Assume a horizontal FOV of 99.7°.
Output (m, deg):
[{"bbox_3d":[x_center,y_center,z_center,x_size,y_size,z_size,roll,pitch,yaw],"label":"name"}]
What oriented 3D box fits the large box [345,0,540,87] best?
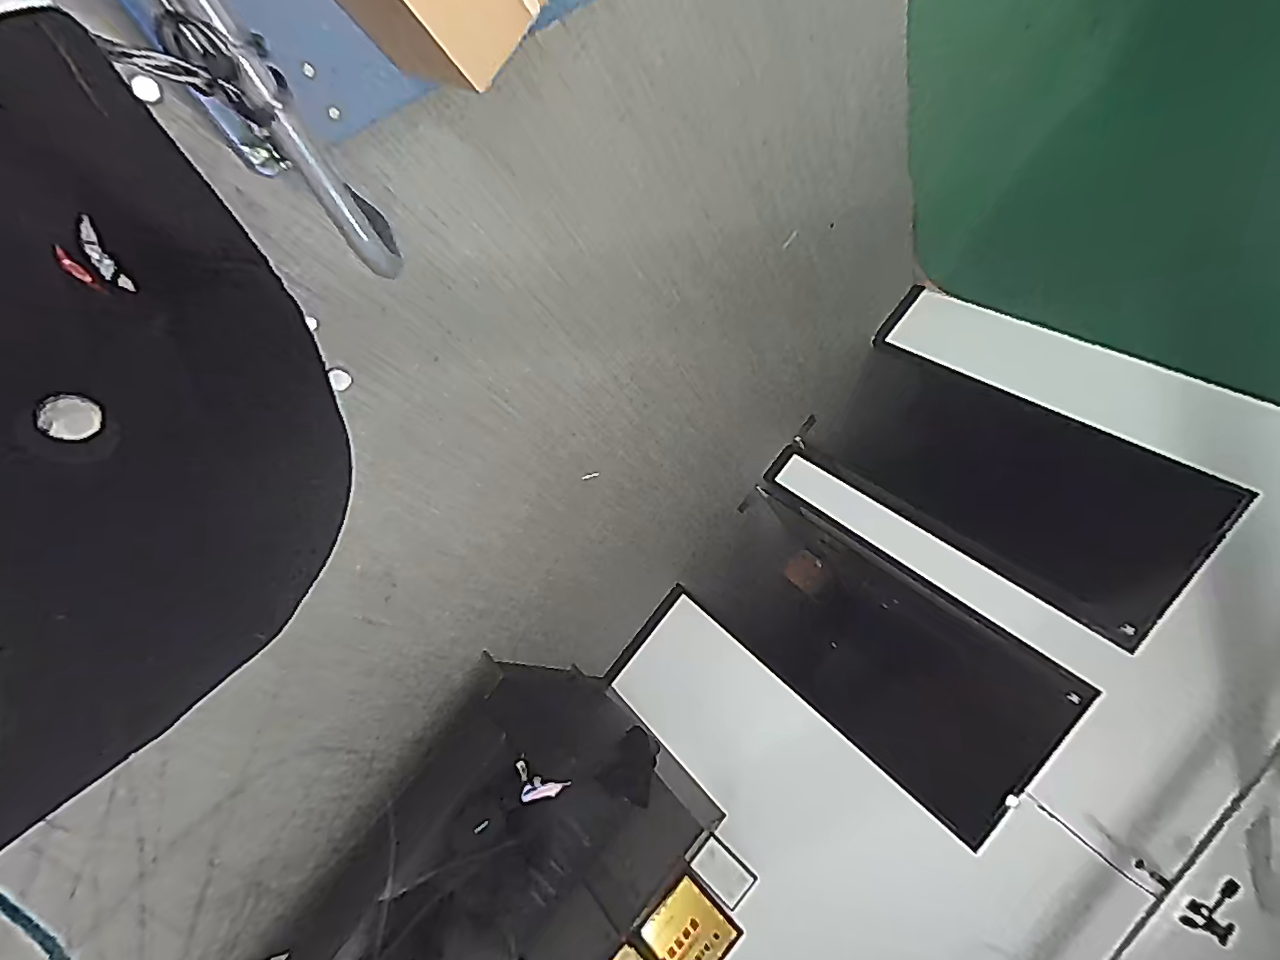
[{"bbox_3d":[-0.368,-0.906,0.810,0.320,0.320,0.408,-54,147,4],"label":"large box"}]
